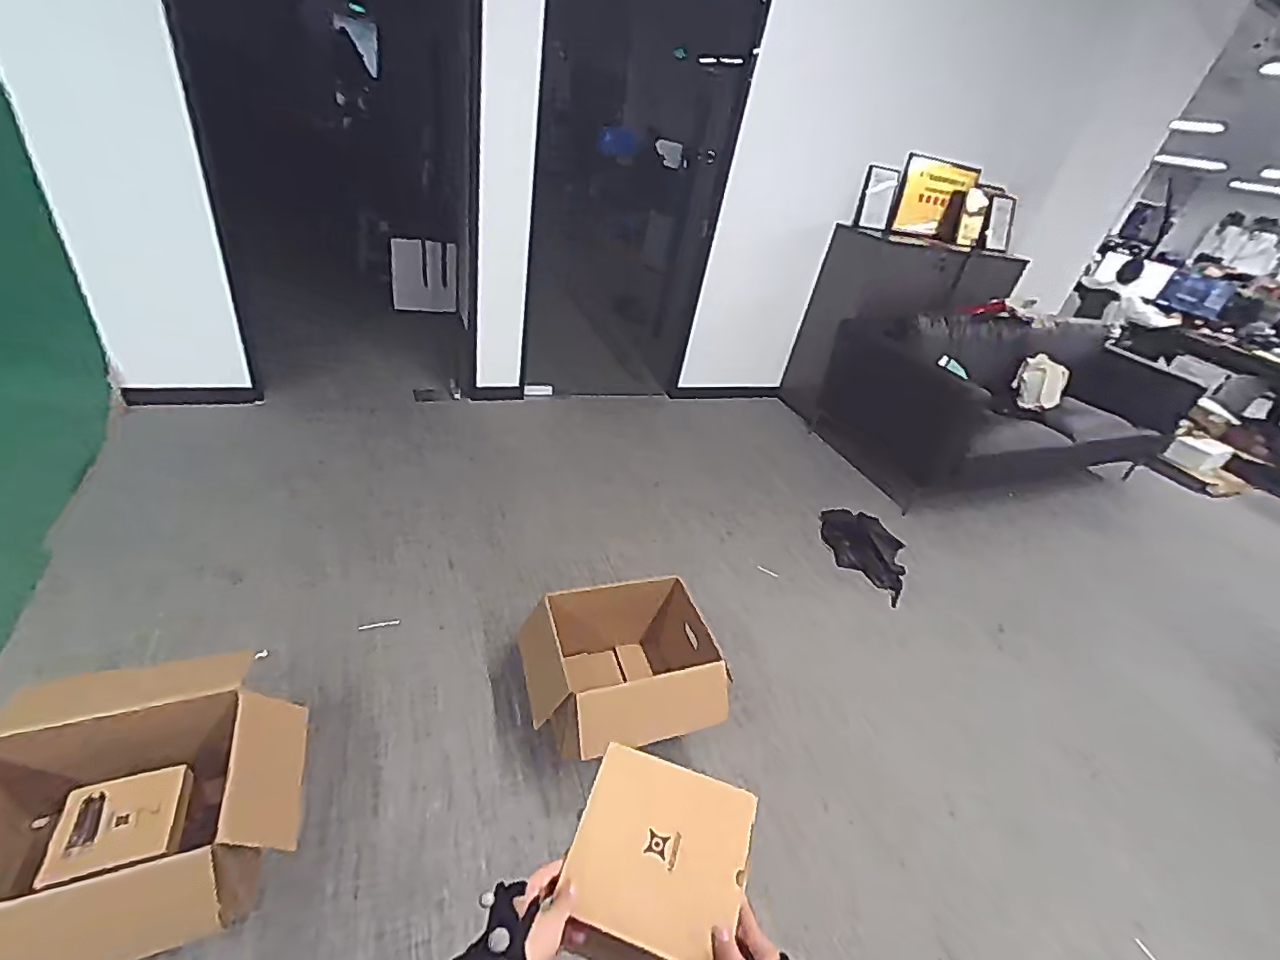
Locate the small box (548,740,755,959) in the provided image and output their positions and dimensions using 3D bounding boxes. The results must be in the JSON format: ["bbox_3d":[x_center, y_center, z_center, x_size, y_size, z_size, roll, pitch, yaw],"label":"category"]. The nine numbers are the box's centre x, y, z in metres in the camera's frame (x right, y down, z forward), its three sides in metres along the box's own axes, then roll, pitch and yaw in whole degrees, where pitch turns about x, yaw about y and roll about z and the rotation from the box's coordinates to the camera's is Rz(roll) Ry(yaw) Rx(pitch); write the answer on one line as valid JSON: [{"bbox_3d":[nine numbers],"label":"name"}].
[{"bbox_3d":[0.013,0.429,0.596,0.179,0.176,0.168,15,40,11],"label":"small box"}]
